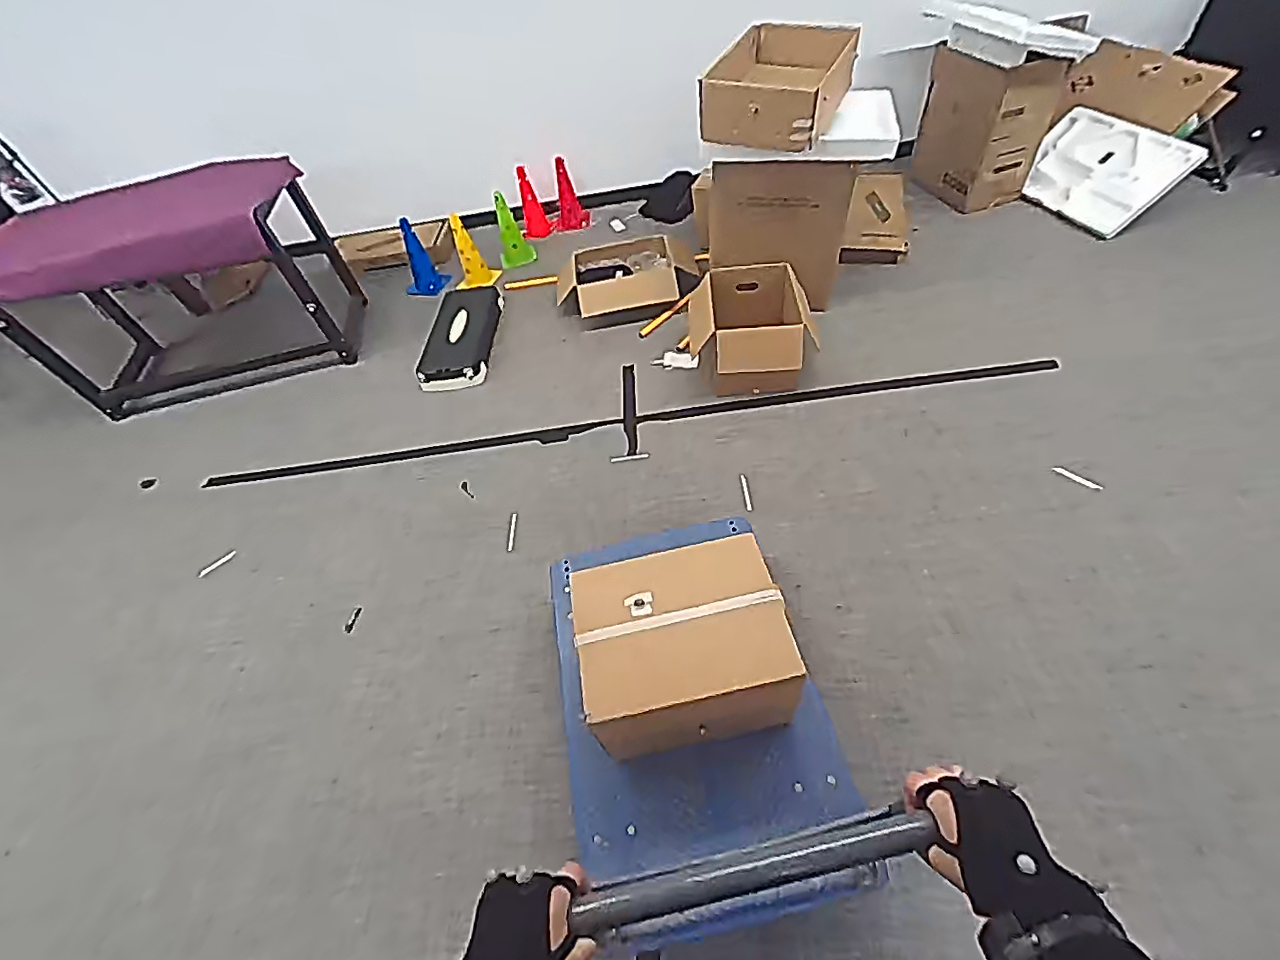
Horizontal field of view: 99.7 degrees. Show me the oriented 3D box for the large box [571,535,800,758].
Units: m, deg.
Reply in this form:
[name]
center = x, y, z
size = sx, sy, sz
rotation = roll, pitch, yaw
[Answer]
[large box]
center = 0.094, 0.371, 1.184
size = 0.408, 0.320, 0.320
rotation = -13, 49, 0
